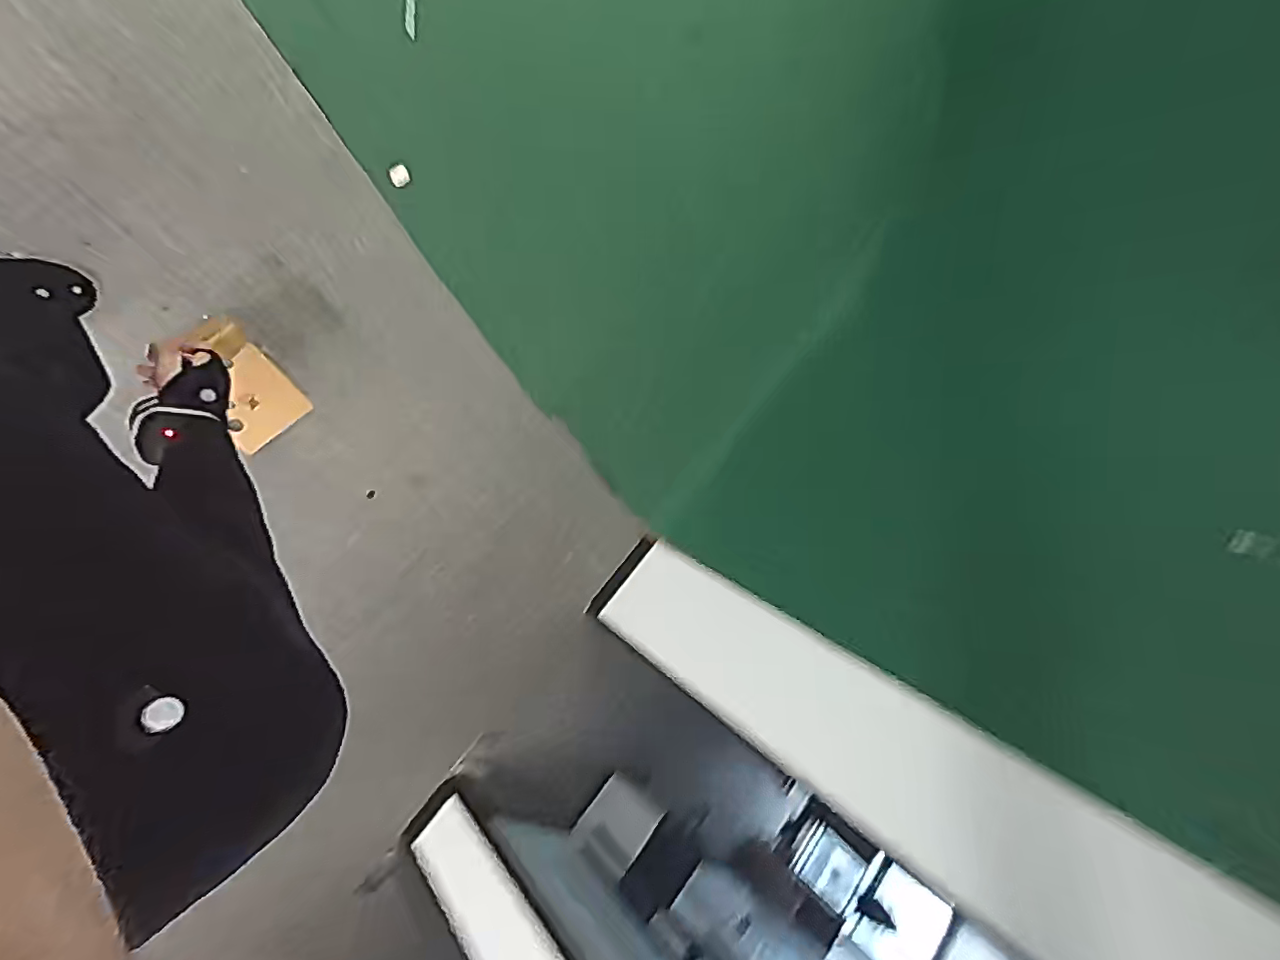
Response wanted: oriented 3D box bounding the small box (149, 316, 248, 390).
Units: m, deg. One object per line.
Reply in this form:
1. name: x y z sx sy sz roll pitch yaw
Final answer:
1. small box: -0.976 -0.259 1.246 0.168 0.176 0.179 -45 138 -20

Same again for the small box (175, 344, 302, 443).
1. small box: -0.863 -0.194 1.162 0.179 0.176 0.168 -19 121 -41
